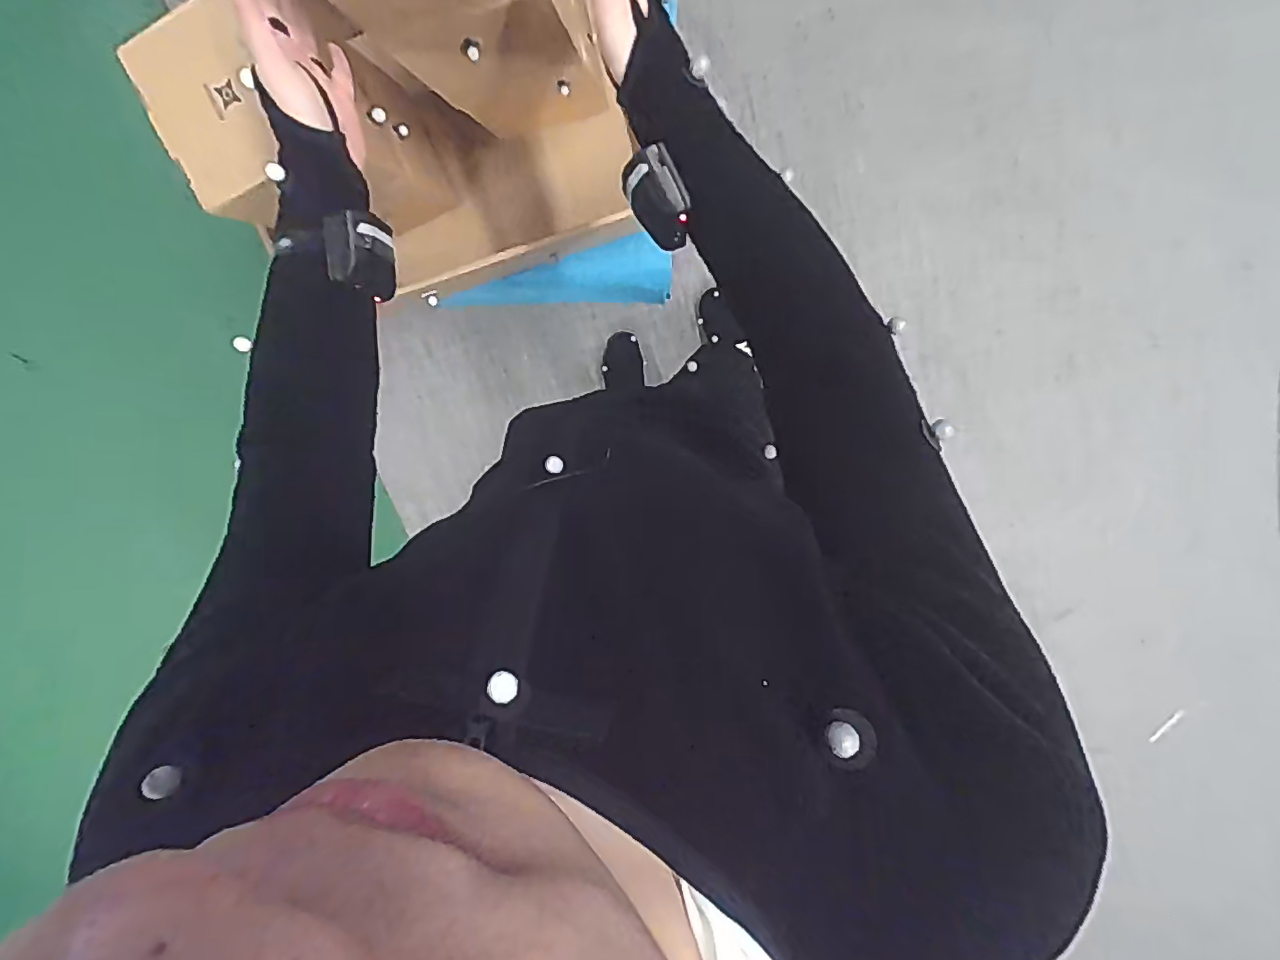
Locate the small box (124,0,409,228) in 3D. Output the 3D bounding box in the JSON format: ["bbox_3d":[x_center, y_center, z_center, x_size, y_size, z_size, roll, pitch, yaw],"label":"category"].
[{"bbox_3d":[-0.412,-0.416,0.630,0.179,0.176,0.168,-20,104,10],"label":"small box"}]

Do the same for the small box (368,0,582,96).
[{"bbox_3d":[-0.176,-0.538,0.563,0.179,0.176,0.168,-11,106,10],"label":"small box"}]
